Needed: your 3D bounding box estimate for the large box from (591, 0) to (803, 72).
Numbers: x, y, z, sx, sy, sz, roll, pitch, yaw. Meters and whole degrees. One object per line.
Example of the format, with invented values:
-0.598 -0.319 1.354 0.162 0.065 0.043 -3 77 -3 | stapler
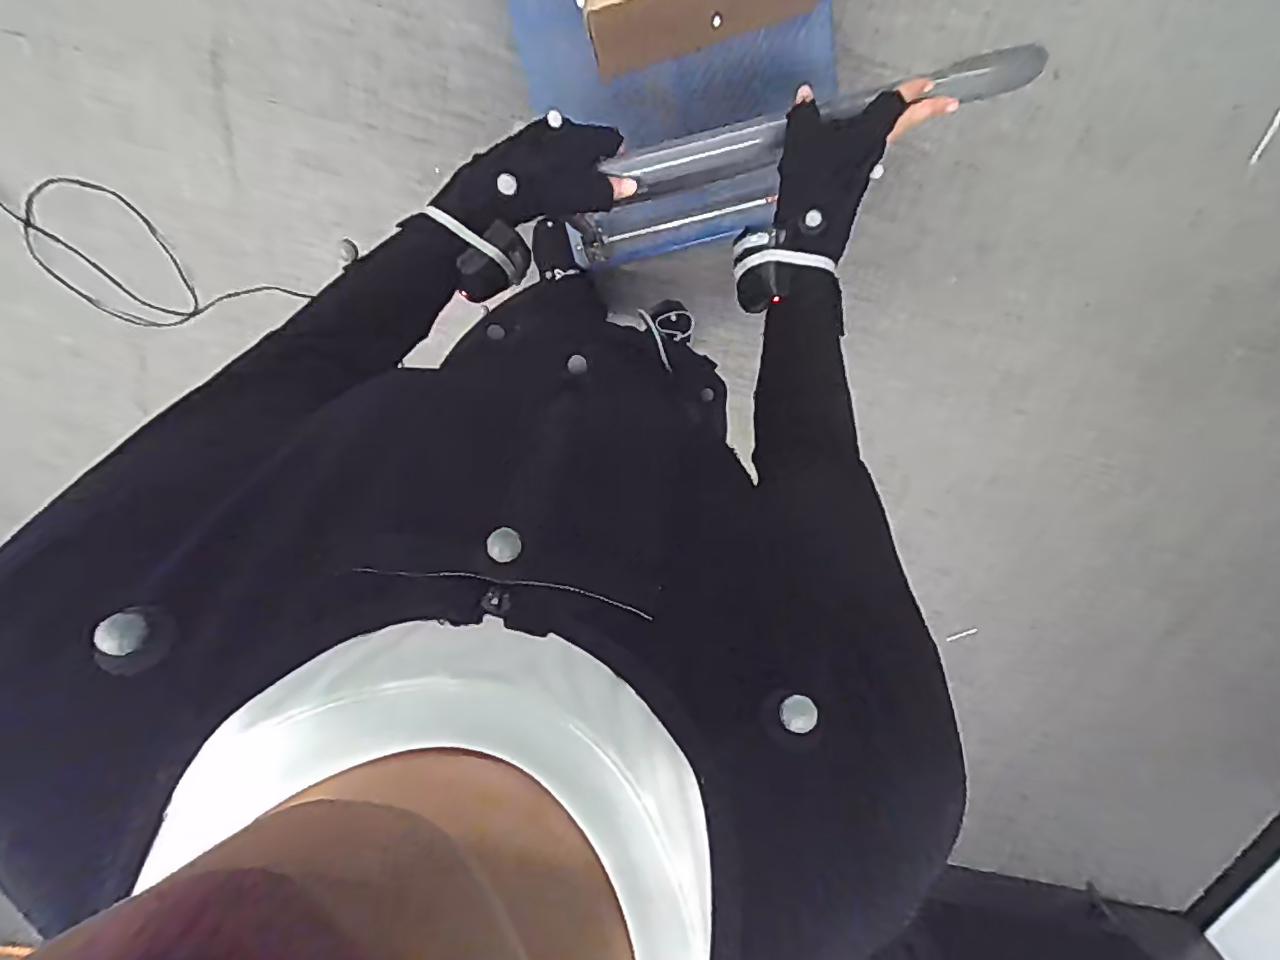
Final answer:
0.090 -0.907 0.825 0.408 0.320 0.320 -14 111 9 | large box
